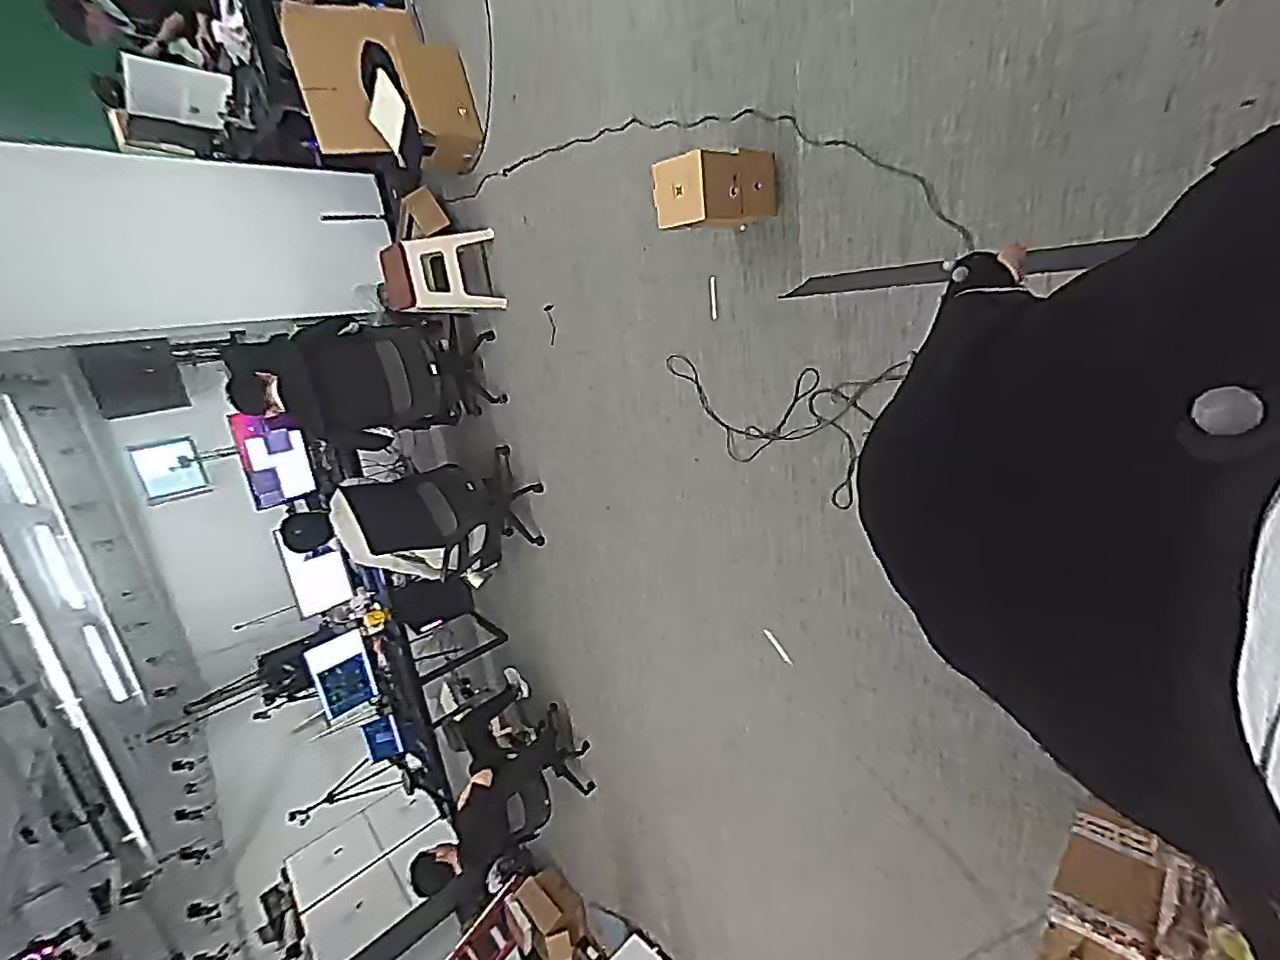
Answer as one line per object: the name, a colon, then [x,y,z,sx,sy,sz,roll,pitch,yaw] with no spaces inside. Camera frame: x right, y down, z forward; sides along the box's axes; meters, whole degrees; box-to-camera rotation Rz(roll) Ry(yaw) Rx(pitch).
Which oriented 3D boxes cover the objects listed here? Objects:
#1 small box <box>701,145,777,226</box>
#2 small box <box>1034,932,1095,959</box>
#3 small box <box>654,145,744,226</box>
small box: [0.284,-0.851,1.581,0.168,0.176,0.179,11,116,46]
small box: [0.823,1.013,1.004,0.168,0.176,0.179,9,110,50]
small box: [0.163,-0.799,1.484,0.179,0.176,0.168,13,118,45]
